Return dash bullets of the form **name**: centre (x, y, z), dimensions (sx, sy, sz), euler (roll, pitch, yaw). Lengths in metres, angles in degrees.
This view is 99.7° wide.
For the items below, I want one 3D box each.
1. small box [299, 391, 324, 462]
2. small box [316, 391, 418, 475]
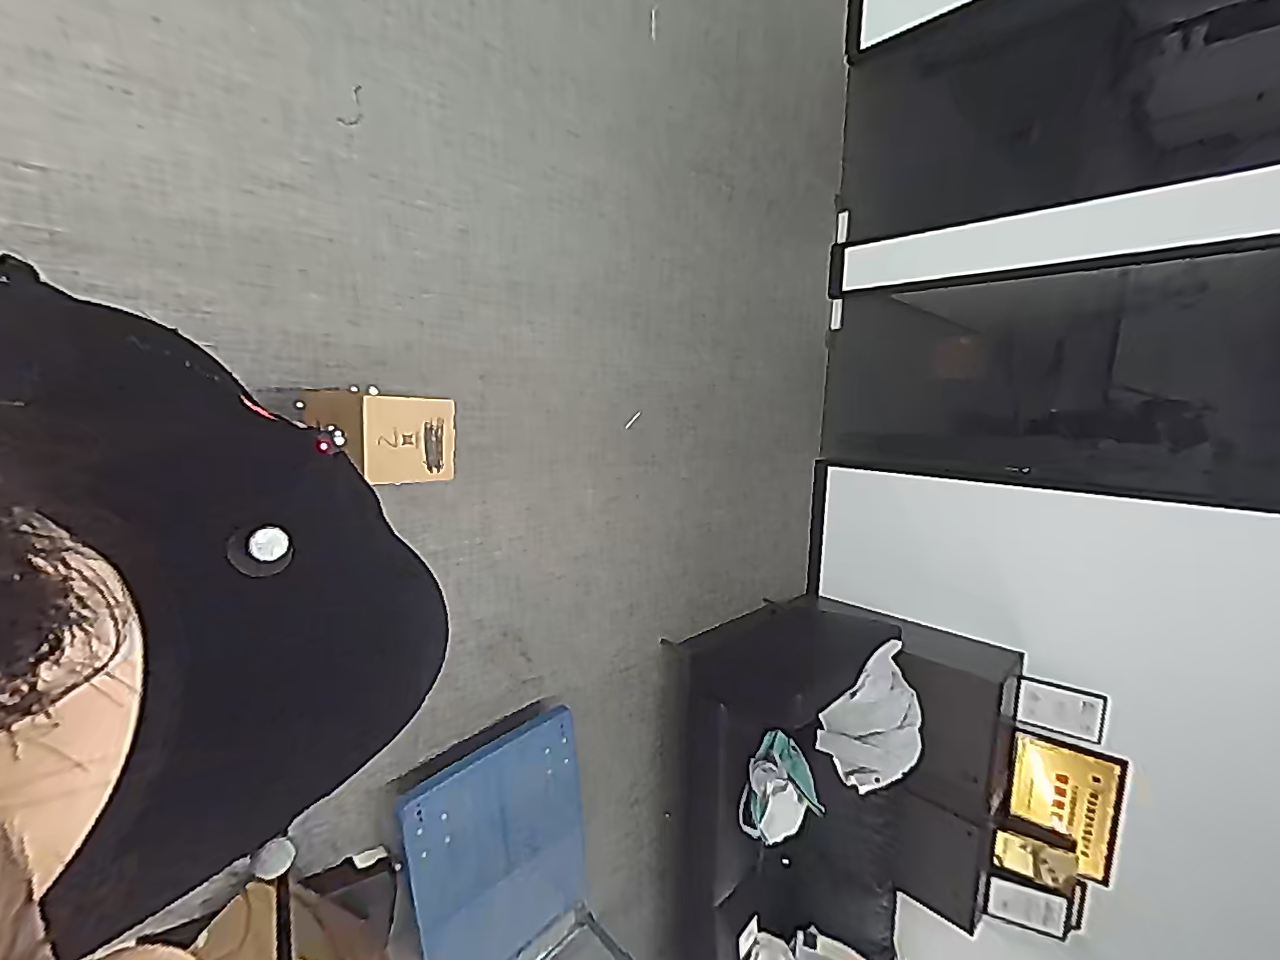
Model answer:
- **small box**: centre (-0.726, -0.132, 1.332), dimensions (0.179, 0.176, 0.168), euler (-5, 101, -46)
- **small box**: centre (-0.614, -0.108, 1.213), dimensions (0.168, 0.176, 0.179), euler (-4, 101, -44)
